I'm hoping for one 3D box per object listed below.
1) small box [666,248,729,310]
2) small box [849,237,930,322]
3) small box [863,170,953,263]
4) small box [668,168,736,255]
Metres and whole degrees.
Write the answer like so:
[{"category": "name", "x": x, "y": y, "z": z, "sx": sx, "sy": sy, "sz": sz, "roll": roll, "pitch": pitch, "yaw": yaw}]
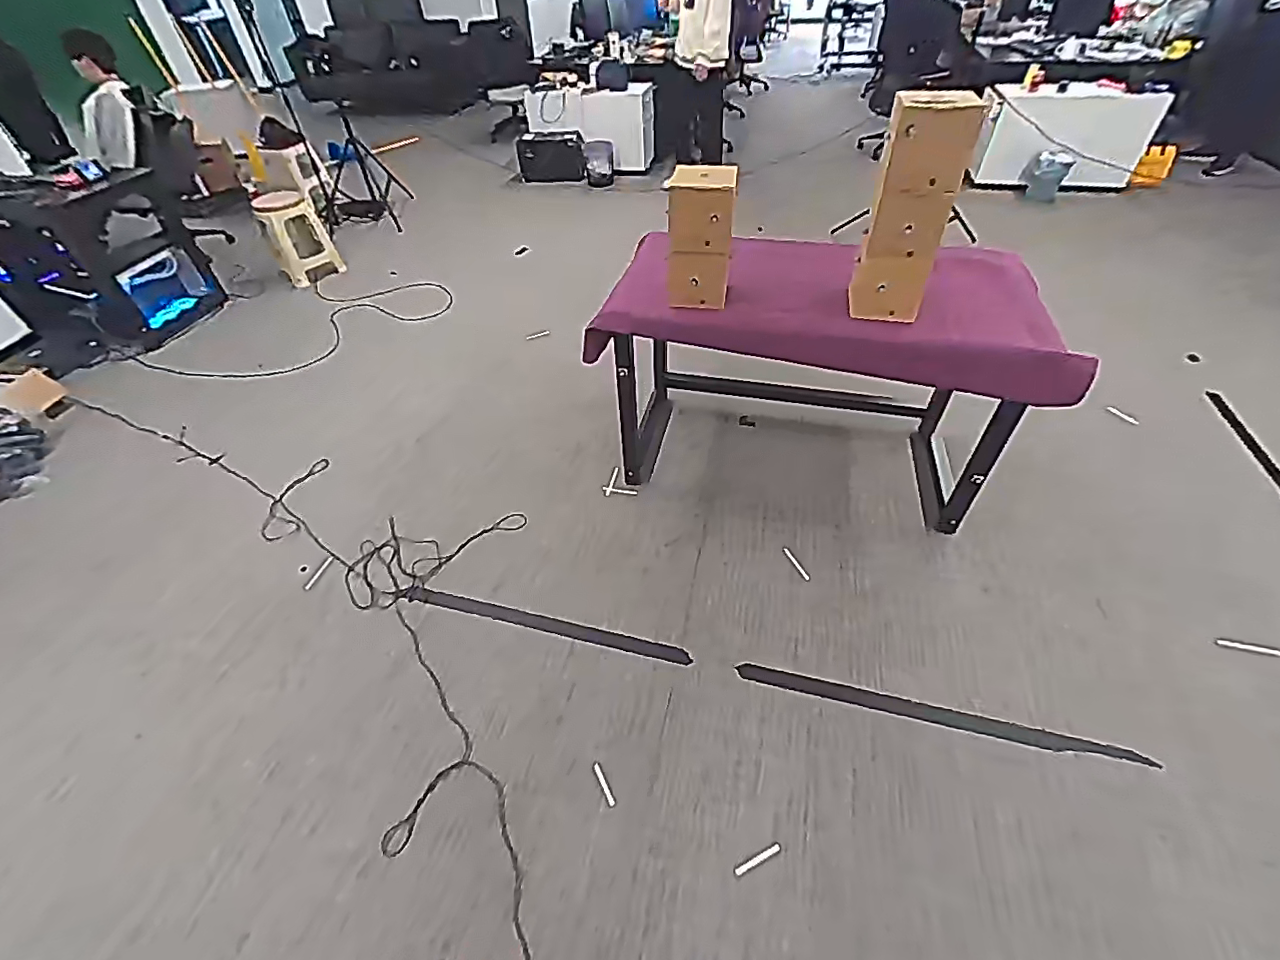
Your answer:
[{"category": "small box", "x": 0.171, "y": -0.612, "z": 1.575, "sx": 0.168, "sy": 0.176, "sz": 0.179, "roll": 6, "pitch": 45, "yaw": 8}, {"category": "small box", "x": 0.680, "y": -0.552, "z": 1.491, "sx": 0.168, "sy": 0.176, "sz": 0.179, "roll": 8, "pitch": 46, "yaw": 12}, {"category": "small box", "x": 0.675, "y": -0.671, "z": 1.378, "sx": 0.168, "sy": 0.176, "sz": 0.179, "roll": 9, "pitch": 46, "yaw": 13}, {"category": "small box", "x": 0.166, "y": -0.722, "z": 1.454, "sx": 0.168, "sy": 0.176, "sz": 0.179, "roll": 5, "pitch": 45, "yaw": 7}]
